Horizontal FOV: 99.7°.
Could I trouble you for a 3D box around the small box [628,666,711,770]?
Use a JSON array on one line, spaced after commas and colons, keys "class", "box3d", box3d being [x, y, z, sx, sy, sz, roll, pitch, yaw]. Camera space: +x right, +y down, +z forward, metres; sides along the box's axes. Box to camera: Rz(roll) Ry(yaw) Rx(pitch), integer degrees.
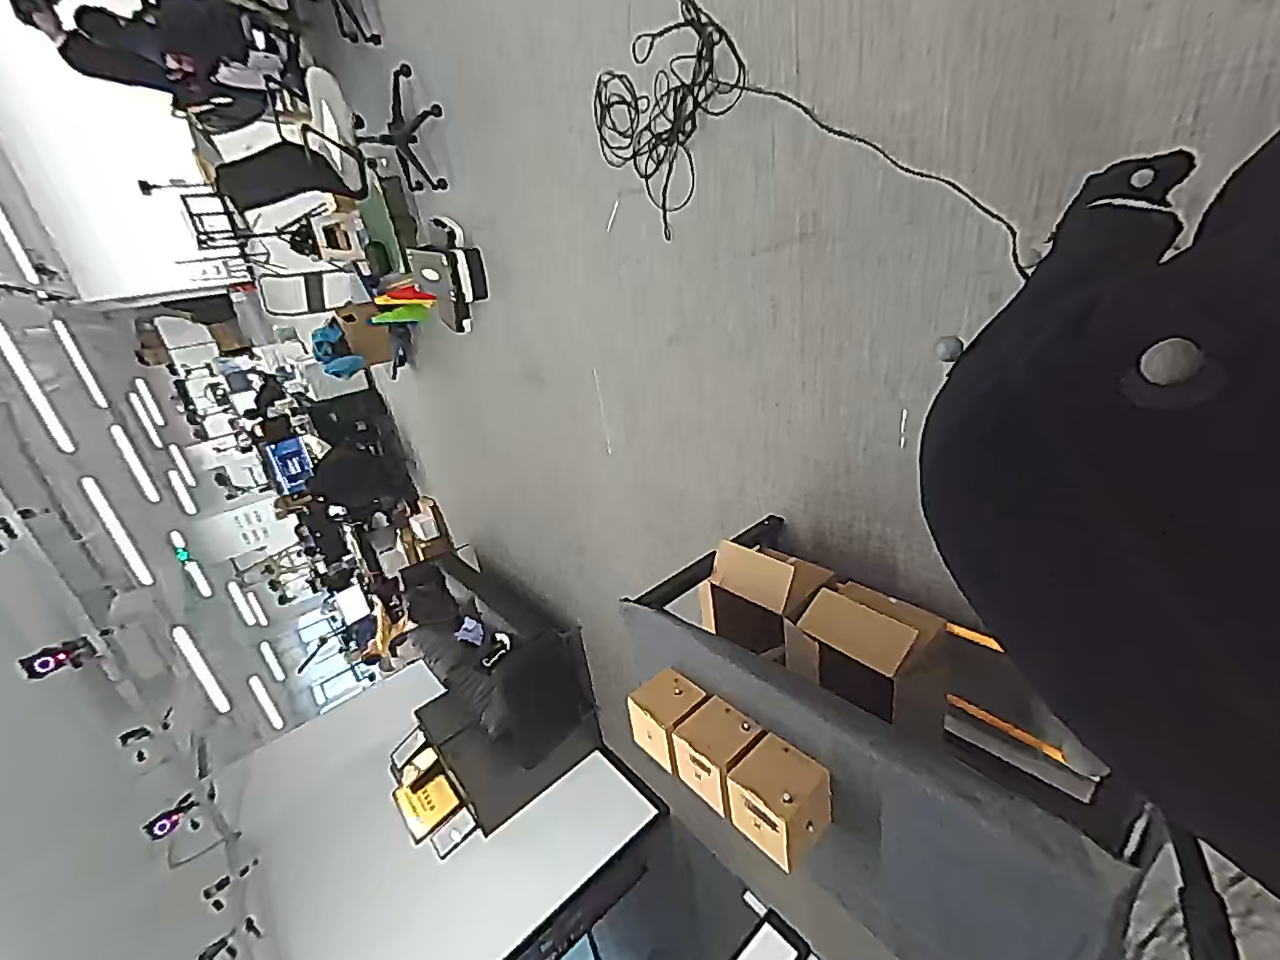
[{"class": "small box", "box3d": [0.091, 0.679, 1.561, 0.168, 0.176, 0.179, 19, 126, 47]}]
